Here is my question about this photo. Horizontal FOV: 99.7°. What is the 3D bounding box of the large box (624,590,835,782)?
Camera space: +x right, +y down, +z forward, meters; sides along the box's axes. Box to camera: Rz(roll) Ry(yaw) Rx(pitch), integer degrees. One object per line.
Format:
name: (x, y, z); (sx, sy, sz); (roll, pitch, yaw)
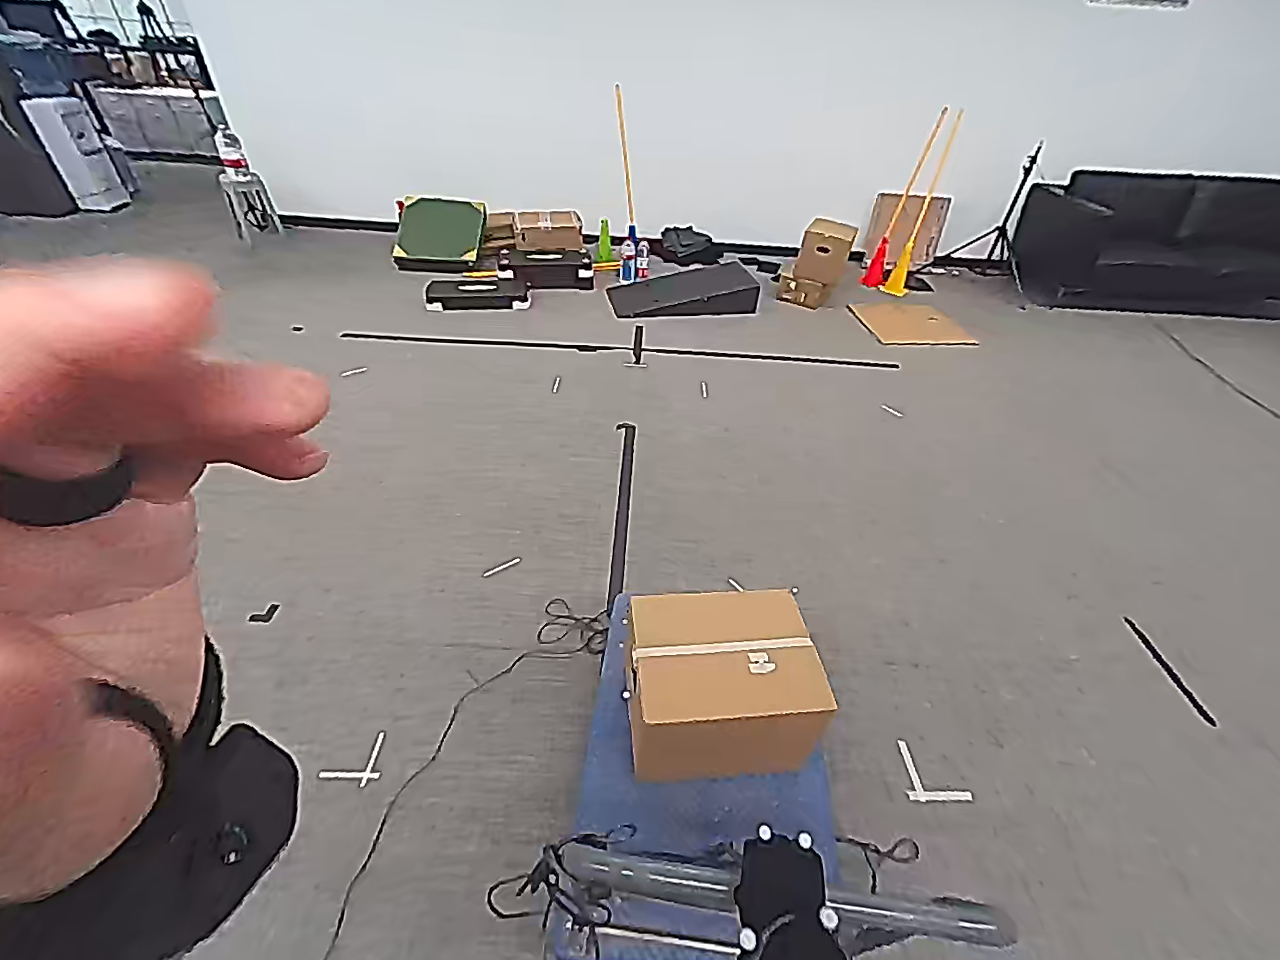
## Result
large box: (0.181, 0.488, 1.295); (0.408, 0.320, 0.320); (-1, 41, -7)
